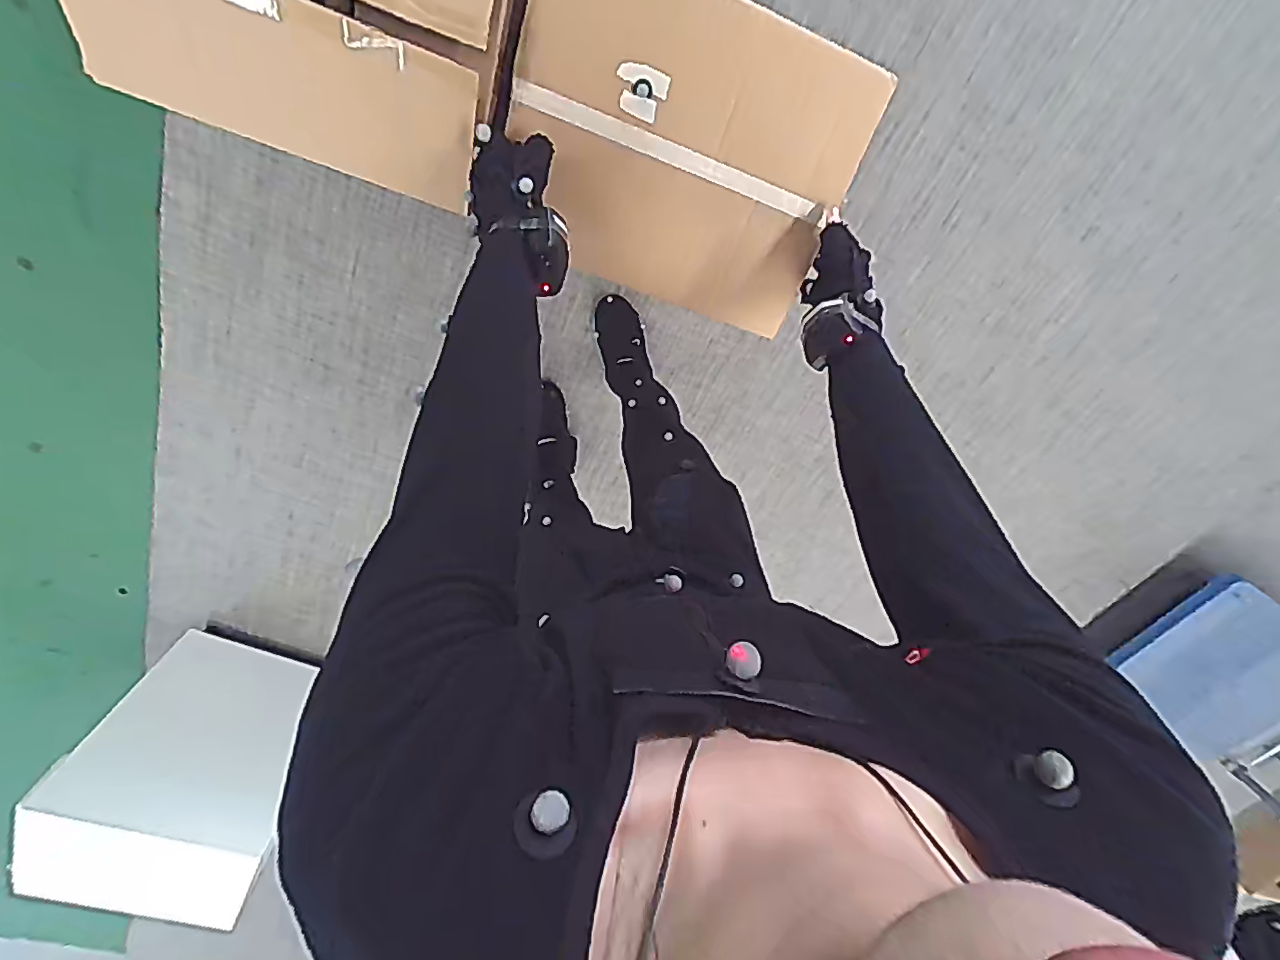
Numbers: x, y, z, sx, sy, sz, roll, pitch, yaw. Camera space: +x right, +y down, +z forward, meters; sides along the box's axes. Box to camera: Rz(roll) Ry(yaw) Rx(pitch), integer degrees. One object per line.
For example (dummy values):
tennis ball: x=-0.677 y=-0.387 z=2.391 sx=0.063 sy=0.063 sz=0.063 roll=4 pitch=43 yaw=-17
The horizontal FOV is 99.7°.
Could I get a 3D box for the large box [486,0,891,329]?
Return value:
large box: x=0.044 y=-0.456 z=0.759 sx=0.408 sy=0.320 sz=0.320 roll=17 pitch=118 yaw=-10
